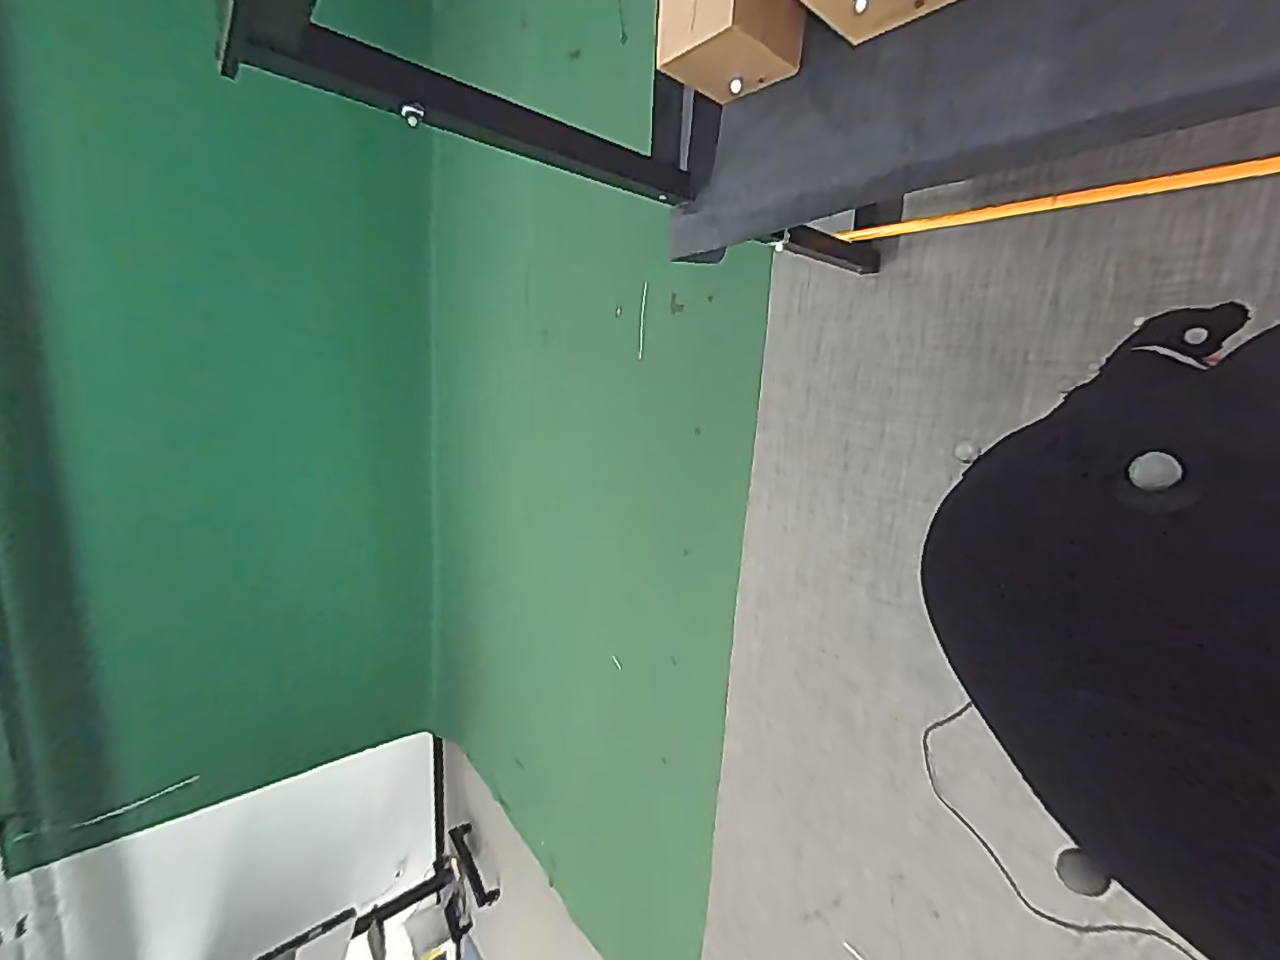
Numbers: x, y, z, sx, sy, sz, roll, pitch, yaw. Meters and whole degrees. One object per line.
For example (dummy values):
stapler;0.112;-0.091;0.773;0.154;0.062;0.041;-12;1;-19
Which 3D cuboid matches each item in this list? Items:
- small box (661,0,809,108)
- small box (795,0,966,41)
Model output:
small box;0.155;-0.742;0.866;0.168;0.176;0.179;16;107;49
small box;0.319;-0.699;0.678;0.168;0.176;0.179;16;106;48
